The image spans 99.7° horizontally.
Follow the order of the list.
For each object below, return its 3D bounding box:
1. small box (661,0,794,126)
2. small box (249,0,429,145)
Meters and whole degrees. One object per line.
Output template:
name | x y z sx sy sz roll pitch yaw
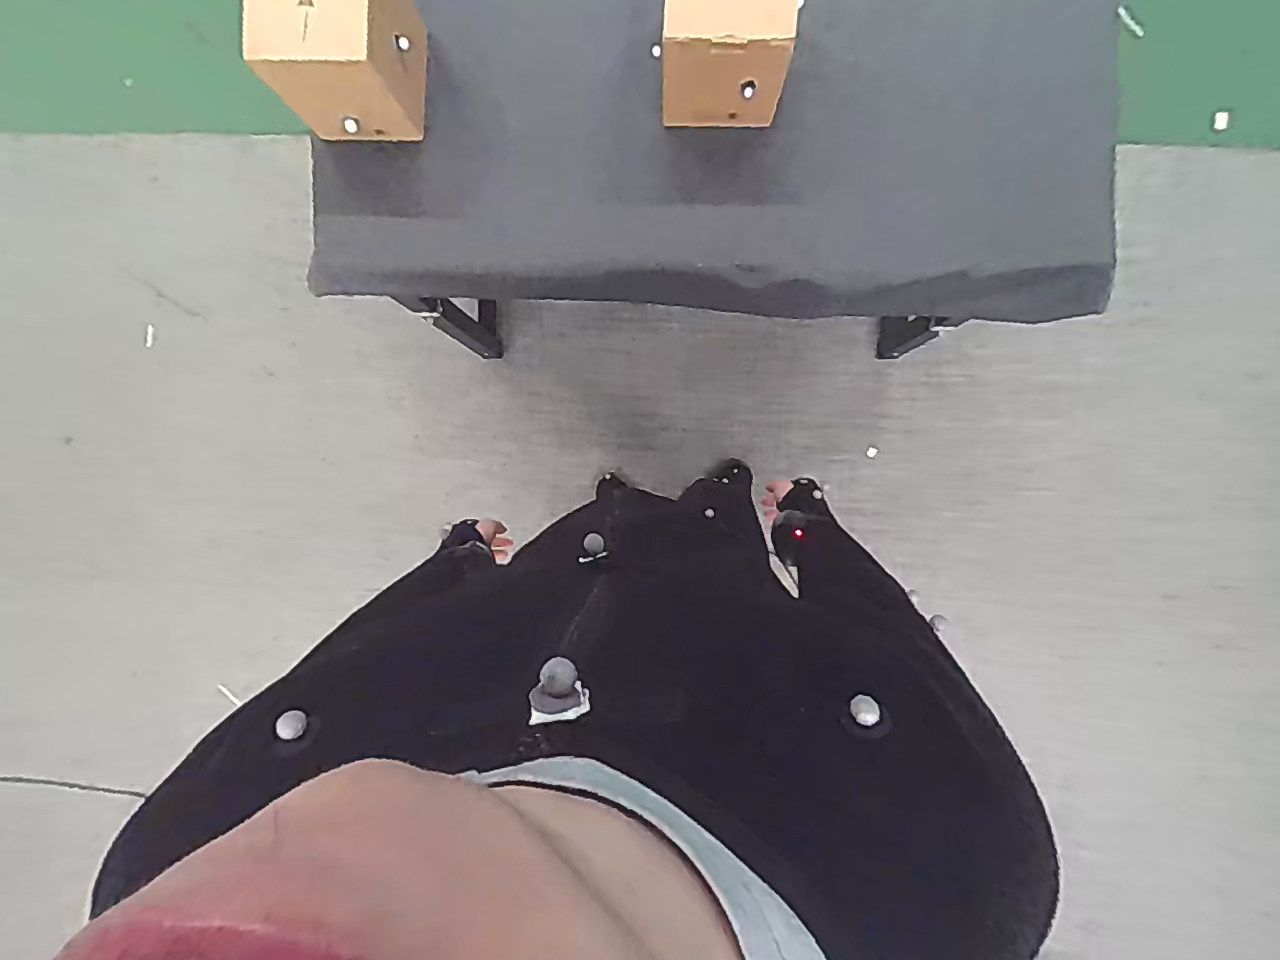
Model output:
small box | 0.115 -0.629 0.753 0.168 0.176 0.179 2 90 1
small box | -0.415 -0.618 0.772 0.168 0.176 0.179 2 91 2
